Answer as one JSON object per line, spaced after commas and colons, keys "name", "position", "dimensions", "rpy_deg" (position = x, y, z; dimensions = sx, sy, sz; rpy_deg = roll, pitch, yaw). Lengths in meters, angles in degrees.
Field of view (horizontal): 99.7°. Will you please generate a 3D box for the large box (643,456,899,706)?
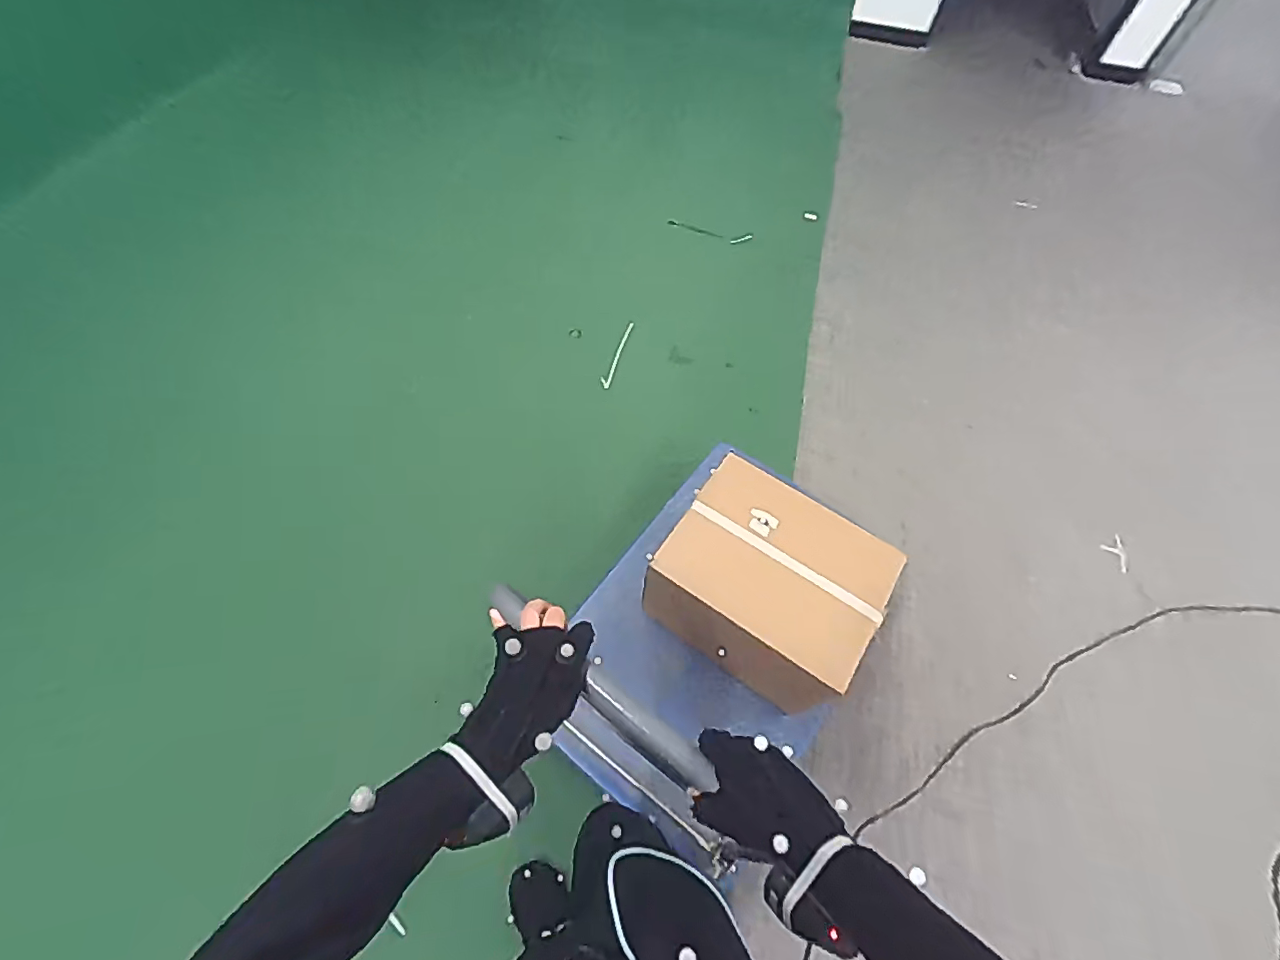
{"name": "large box", "position": [0.257, 0.225, 1.167], "dimensions": [0.408, 0.320, 0.320], "rpy_deg": [32, 63, 15]}
